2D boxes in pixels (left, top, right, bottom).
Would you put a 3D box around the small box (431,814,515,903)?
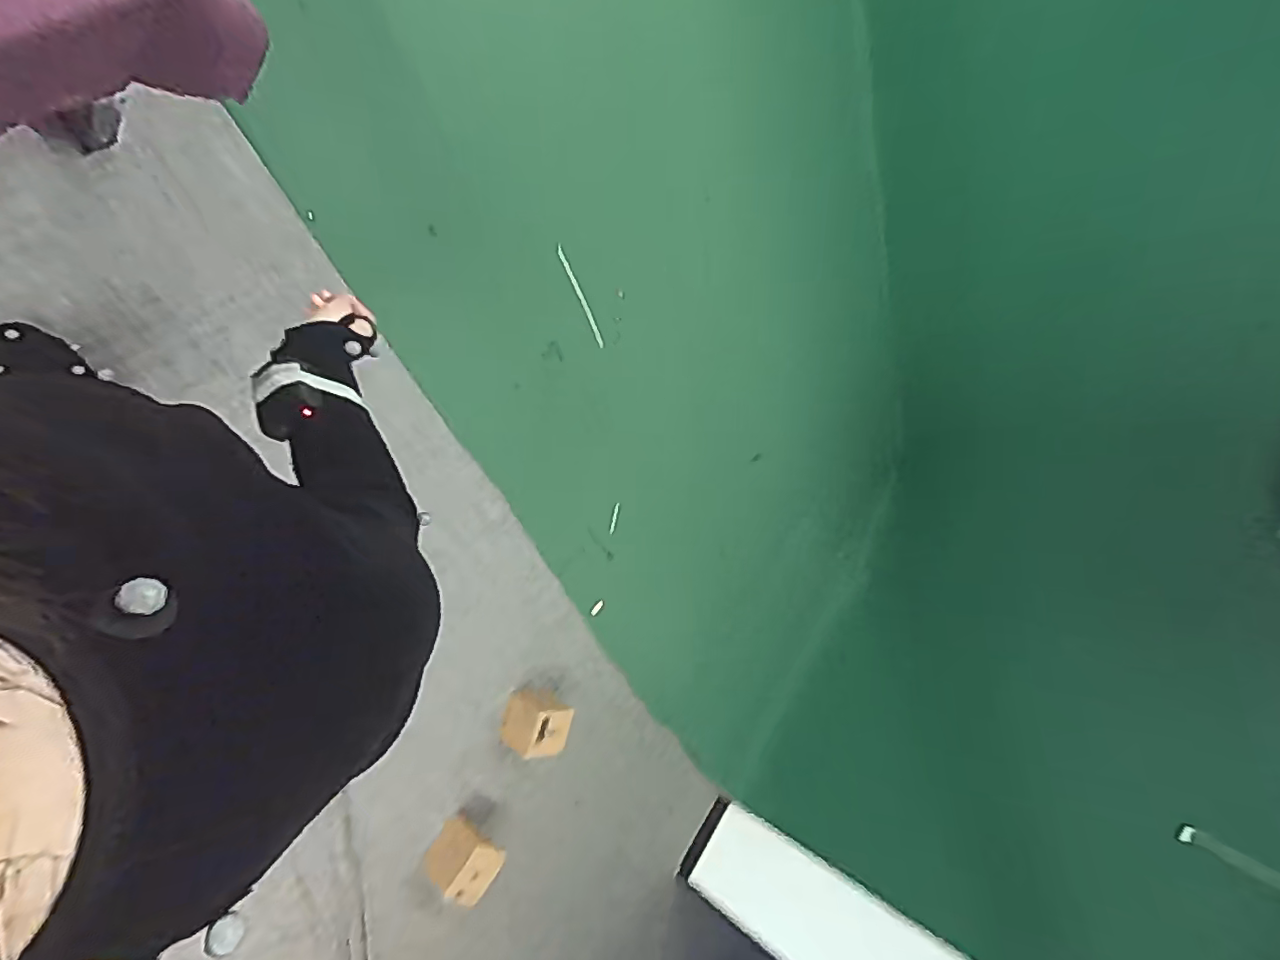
[{"bbox_3d":[-0.568,1.275,1.830,0.179,0.176,0.168,-54,132,-24],"label":"small box"}]
